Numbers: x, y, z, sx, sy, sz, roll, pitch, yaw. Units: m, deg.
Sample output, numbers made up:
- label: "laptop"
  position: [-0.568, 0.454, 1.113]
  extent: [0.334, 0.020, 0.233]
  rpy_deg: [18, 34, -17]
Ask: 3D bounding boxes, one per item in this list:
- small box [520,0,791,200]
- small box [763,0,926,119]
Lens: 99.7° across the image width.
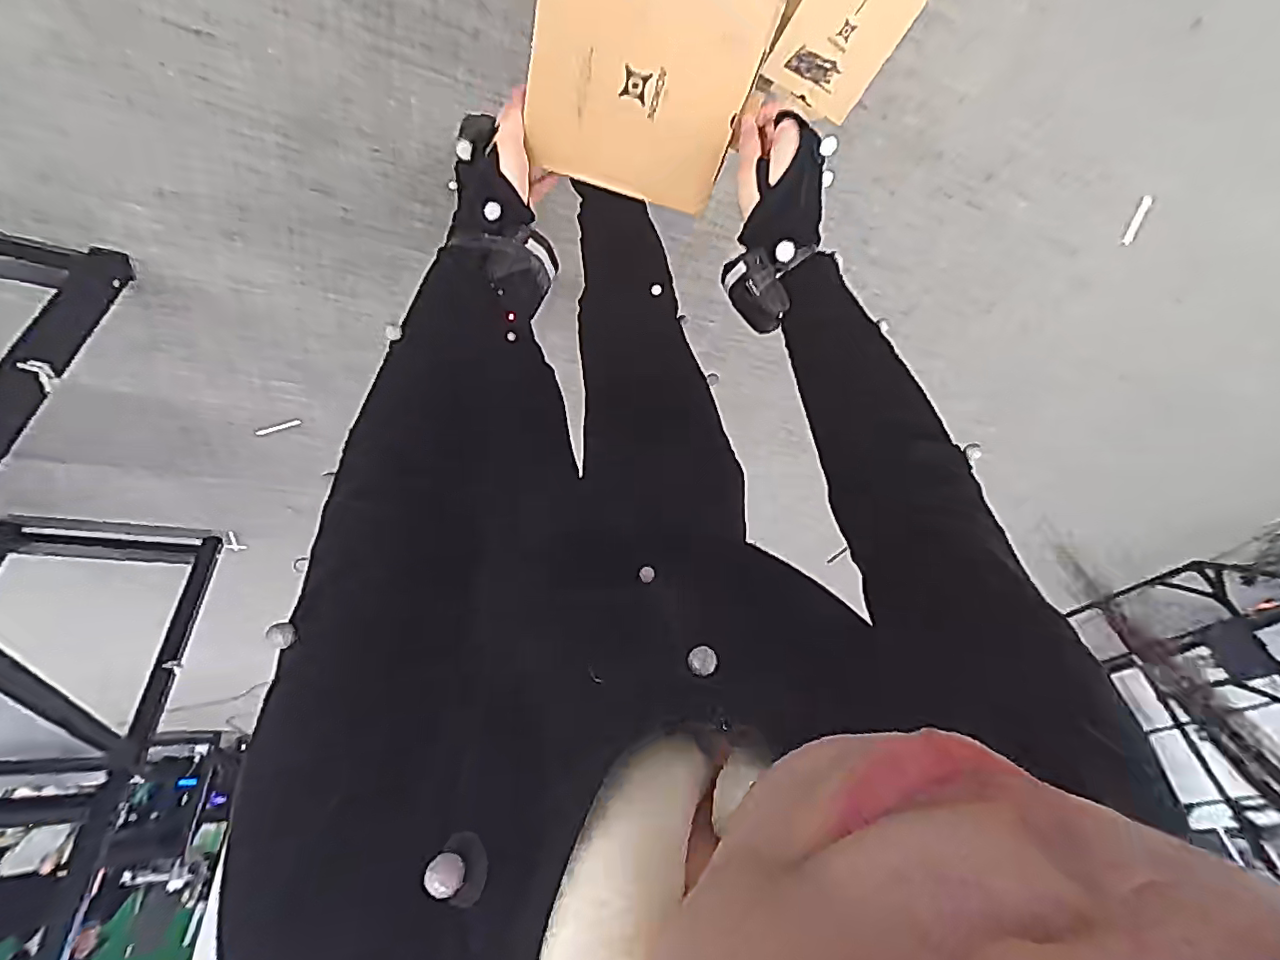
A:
- label: "small box"
  position: [0.005, -0.384, 0.469]
  extent: [0.179, 0.176, 0.168]
  rpy_deg: [12, 139, -13]
- label: "small box"
  position: [0.270, -0.690, 0.795]
  extent: [0.168, 0.176, 0.179]
  rpy_deg: [12, 140, -28]
